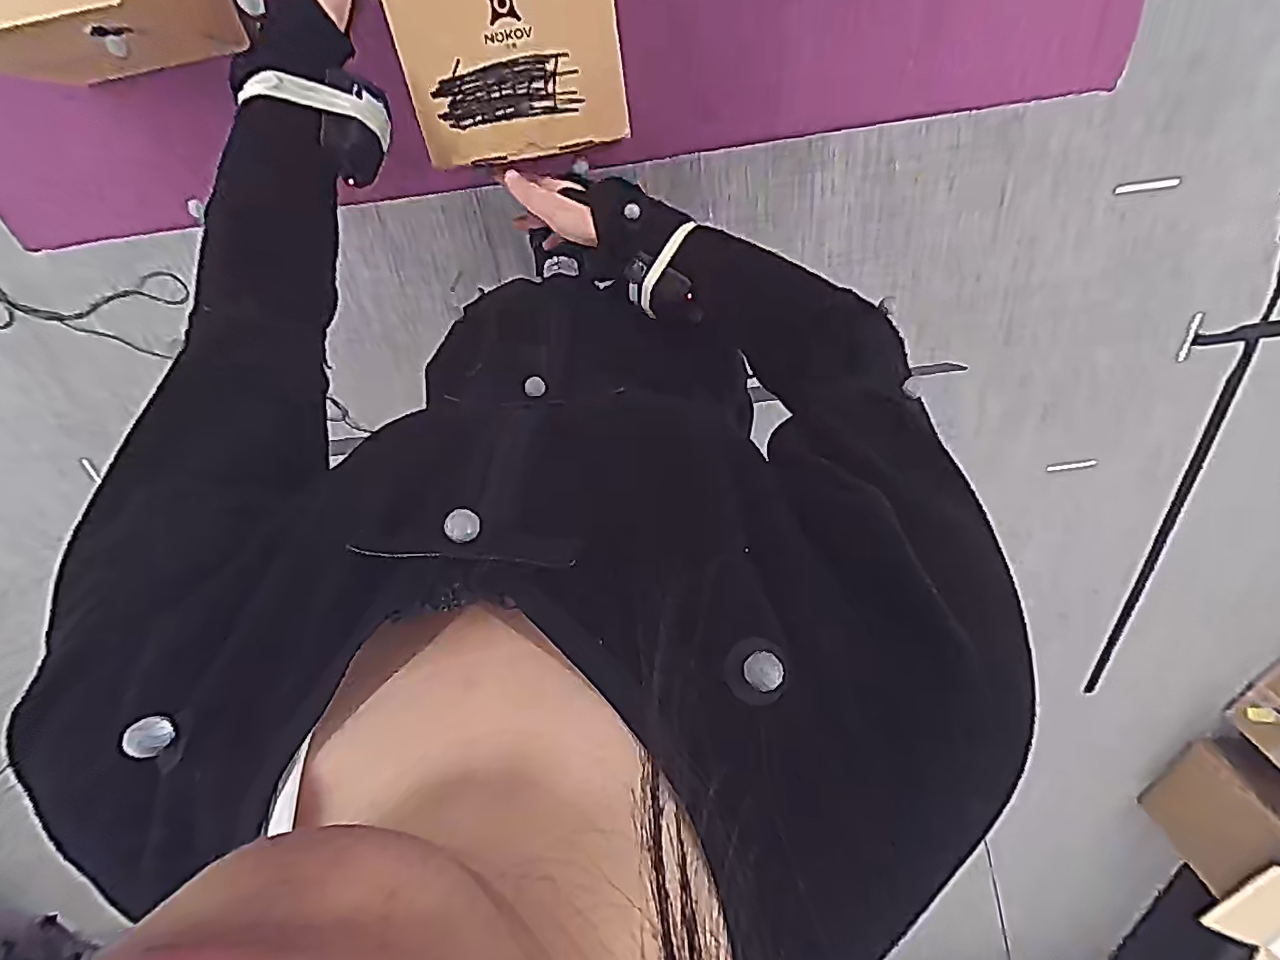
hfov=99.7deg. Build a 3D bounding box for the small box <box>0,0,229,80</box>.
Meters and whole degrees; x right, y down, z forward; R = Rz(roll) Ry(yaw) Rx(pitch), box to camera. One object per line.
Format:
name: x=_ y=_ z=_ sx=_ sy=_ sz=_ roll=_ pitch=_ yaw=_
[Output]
small box: x=-0.464 y=-0.428 z=0.410 sx=0.179 sy=0.176 sz=0.168 roll=-10 pitch=119 yaw=2
